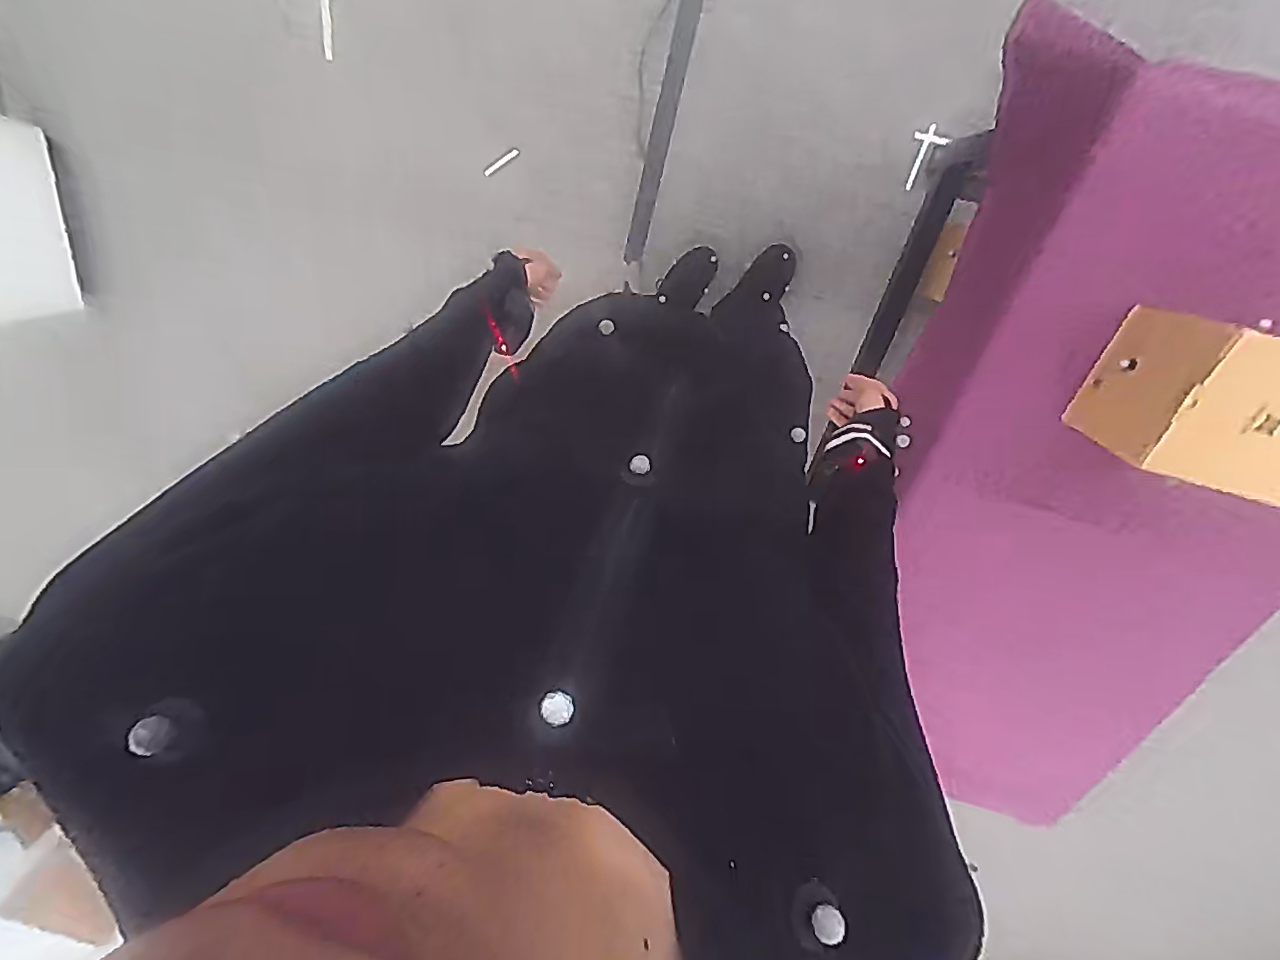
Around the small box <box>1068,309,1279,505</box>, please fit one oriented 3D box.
[{"bbox_3d":[0.692,-0.098,0.659,0.179,0.176,0.168,16,118,2],"label":"small box"}]
